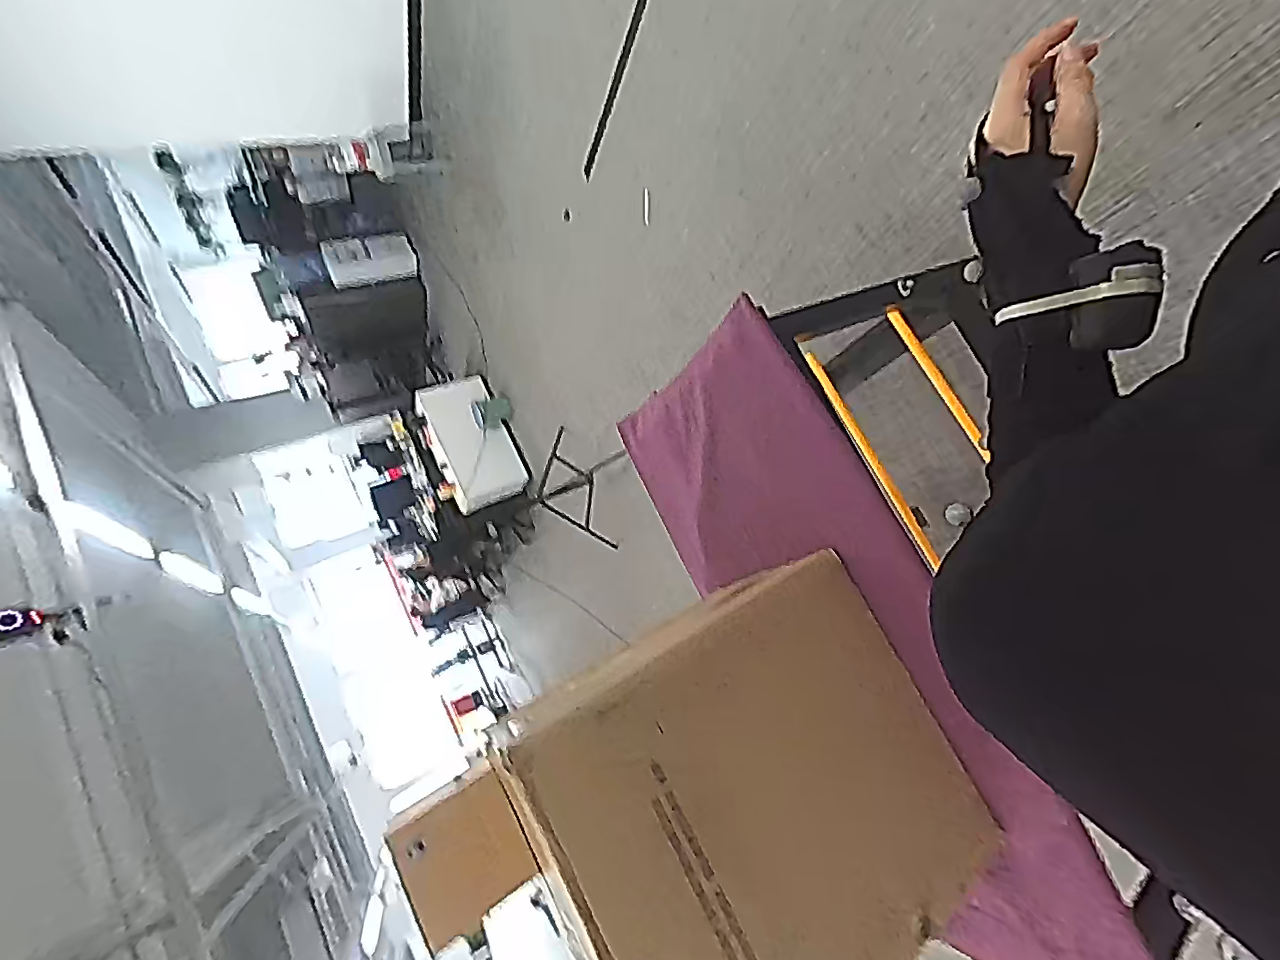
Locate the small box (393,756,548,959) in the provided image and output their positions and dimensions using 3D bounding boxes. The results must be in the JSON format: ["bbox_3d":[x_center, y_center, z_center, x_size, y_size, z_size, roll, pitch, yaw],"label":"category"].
[{"bbox_3d":[-0.261,0.567,0.842,0.179,0.176,0.168,62,153,10],"label":"small box"}]
